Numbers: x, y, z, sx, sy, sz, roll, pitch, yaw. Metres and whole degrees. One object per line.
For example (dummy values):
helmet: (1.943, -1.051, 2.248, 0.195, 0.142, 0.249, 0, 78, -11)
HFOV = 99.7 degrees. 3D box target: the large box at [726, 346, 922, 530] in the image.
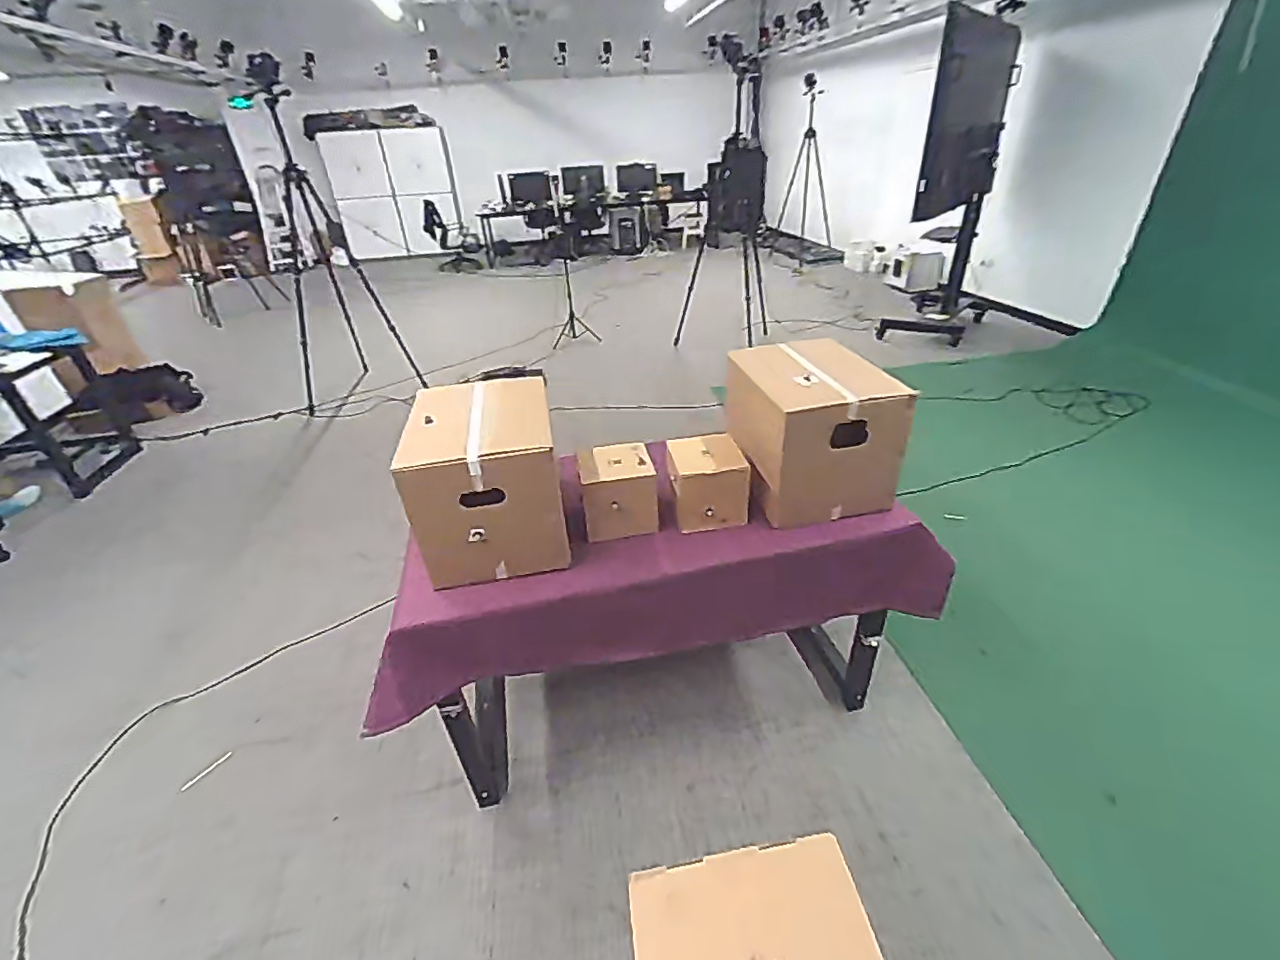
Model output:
large box: (0.439, -0.126, 1.409, 0.320, 0.320, 0.408, -8, 33, -7)
